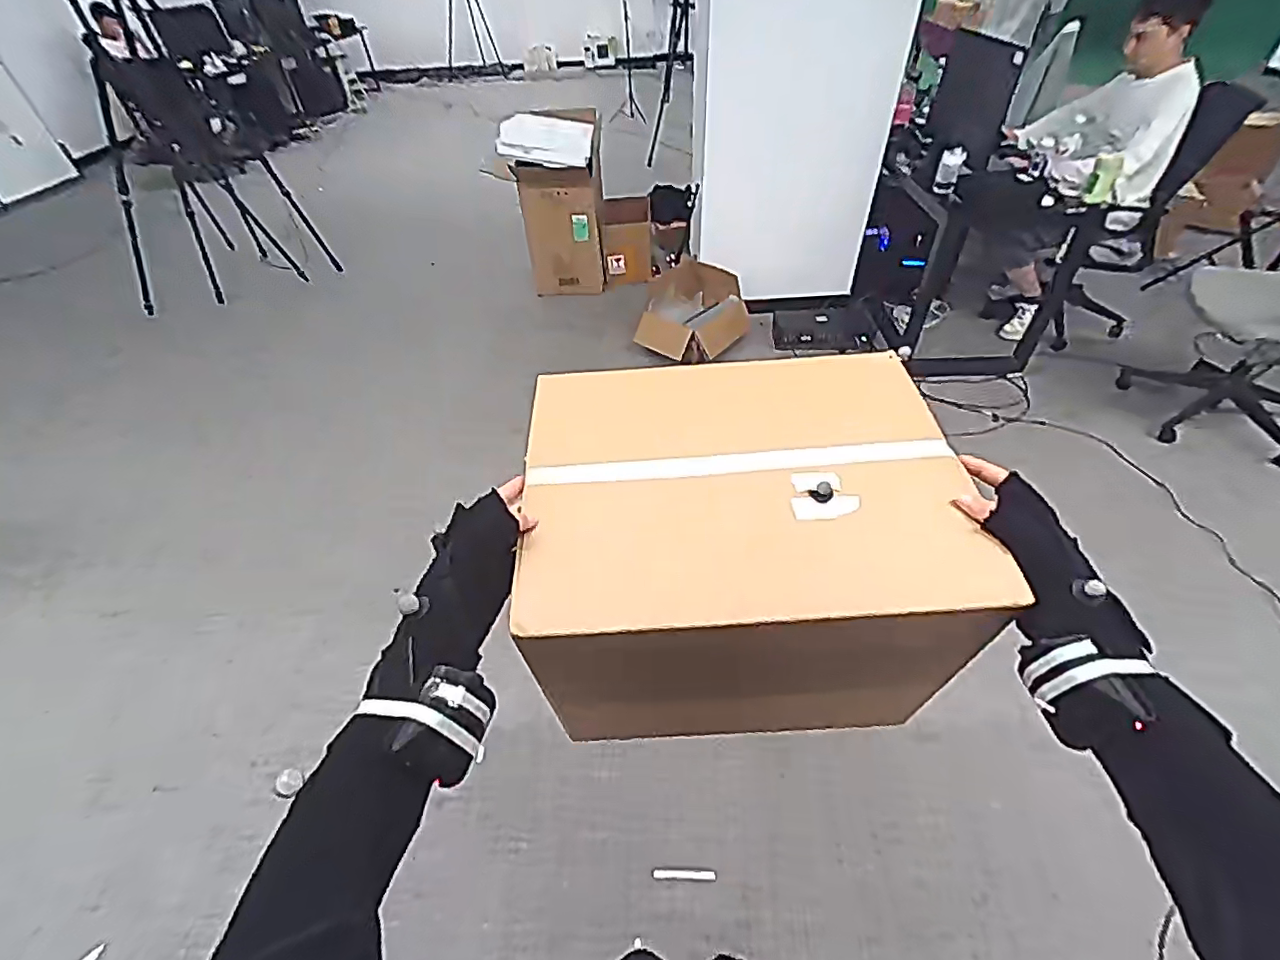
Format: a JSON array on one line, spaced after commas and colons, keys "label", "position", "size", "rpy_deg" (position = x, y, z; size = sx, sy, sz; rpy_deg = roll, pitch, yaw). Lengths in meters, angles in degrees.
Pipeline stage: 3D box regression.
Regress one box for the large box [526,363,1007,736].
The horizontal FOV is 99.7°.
[{"label": "large box", "position": [0.100, 0.089, 0.645], "size": [0.408, 0.320, 0.320], "rpy_deg": [-4, 51, 0]}]
